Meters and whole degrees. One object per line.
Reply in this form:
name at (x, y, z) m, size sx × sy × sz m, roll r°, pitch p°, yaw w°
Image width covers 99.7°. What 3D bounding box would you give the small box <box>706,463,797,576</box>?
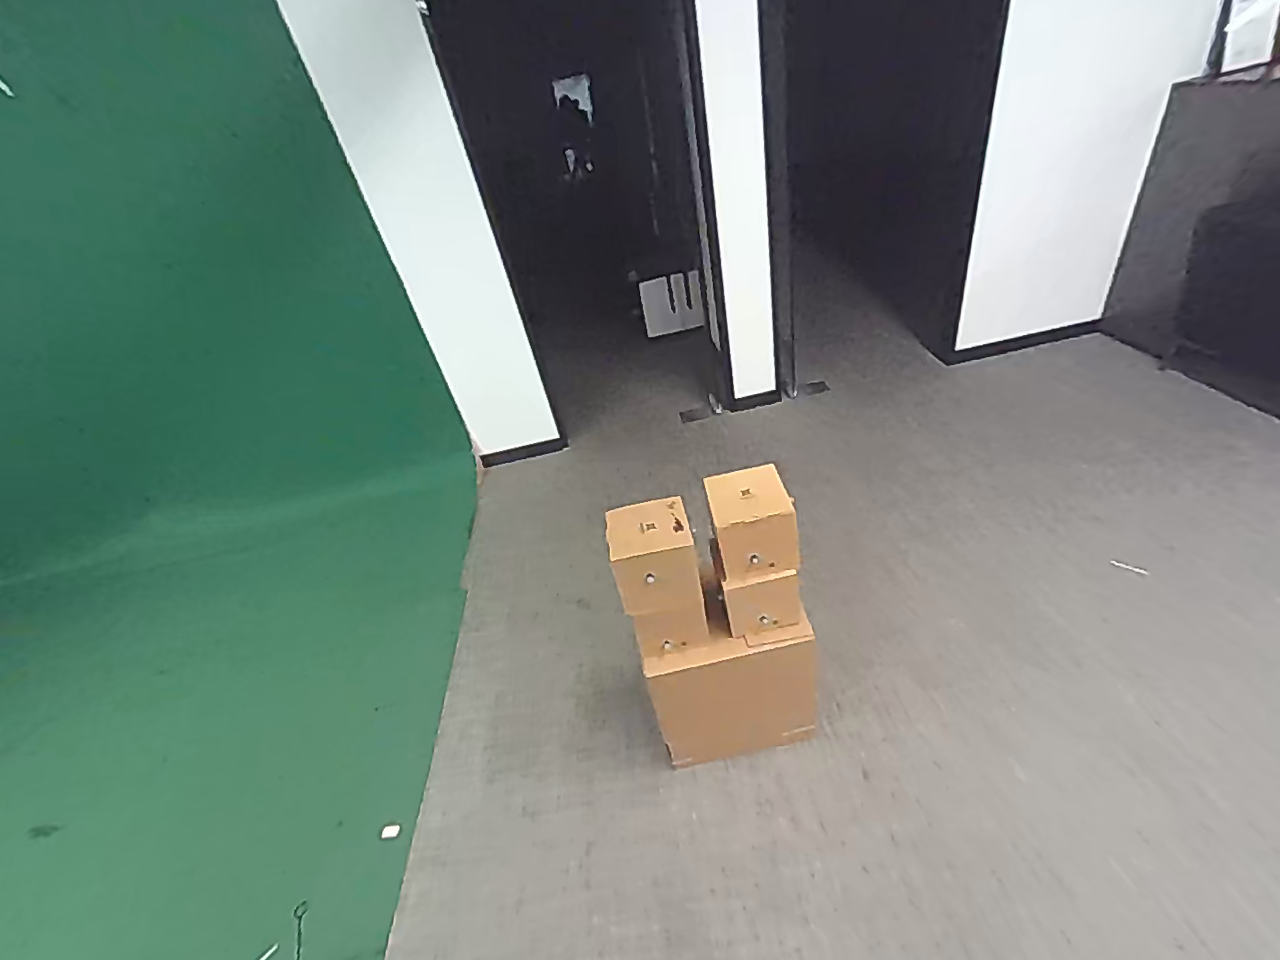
small box at (0.251, 0.089, 1.224) m, size 0.168 × 0.176 × 0.179 m, roll -12°, pitch 36°, yaw 4°
